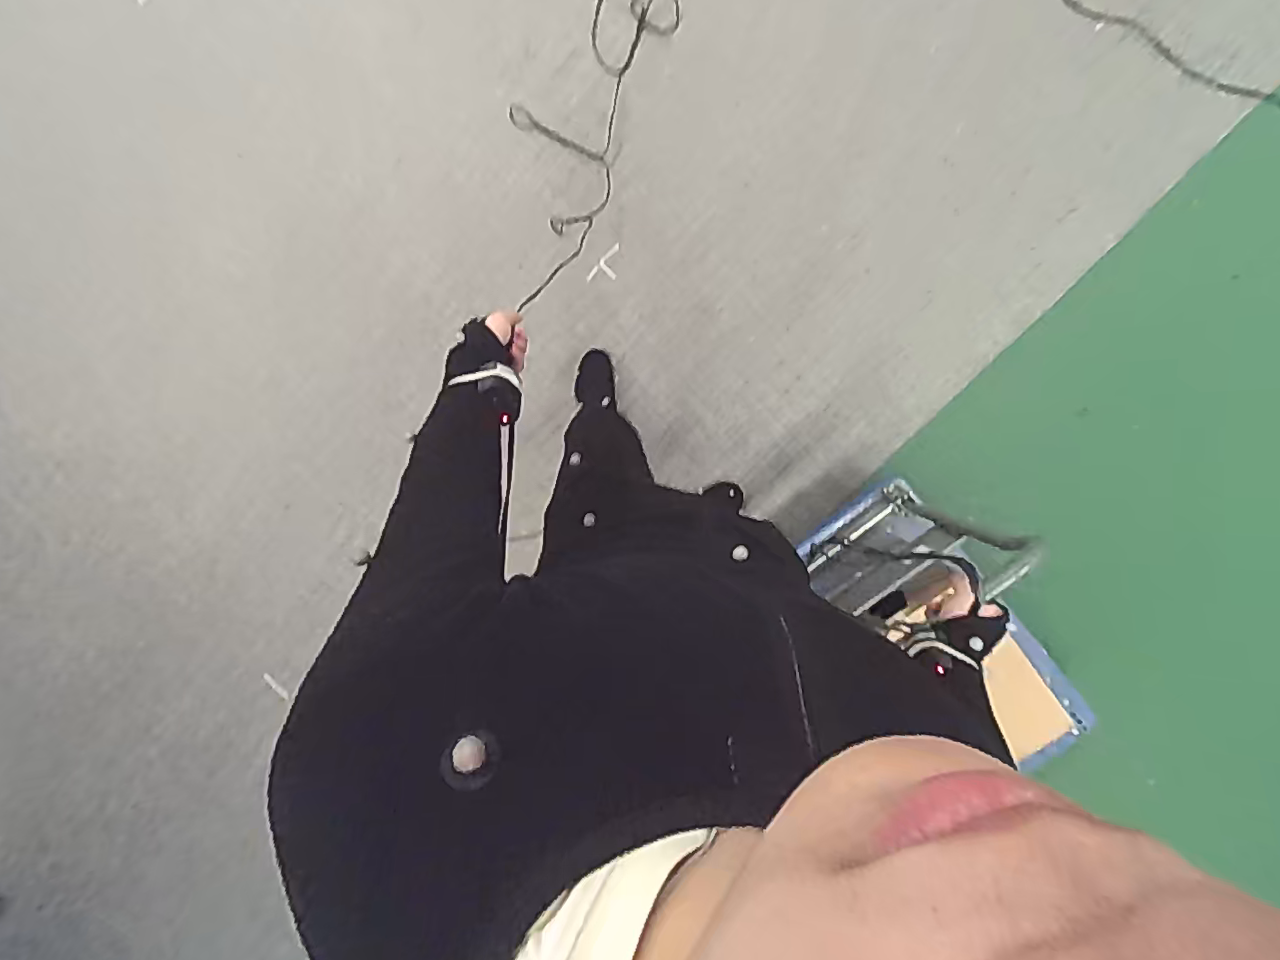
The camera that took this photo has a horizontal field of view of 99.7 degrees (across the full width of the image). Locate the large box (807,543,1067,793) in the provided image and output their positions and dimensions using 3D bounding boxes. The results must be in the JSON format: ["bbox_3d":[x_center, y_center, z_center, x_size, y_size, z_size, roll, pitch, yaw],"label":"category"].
[{"bbox_3d":[0.672,0.422,1.296,0.320,0.320,0.408,-37,93,8],"label":"large box"}]
